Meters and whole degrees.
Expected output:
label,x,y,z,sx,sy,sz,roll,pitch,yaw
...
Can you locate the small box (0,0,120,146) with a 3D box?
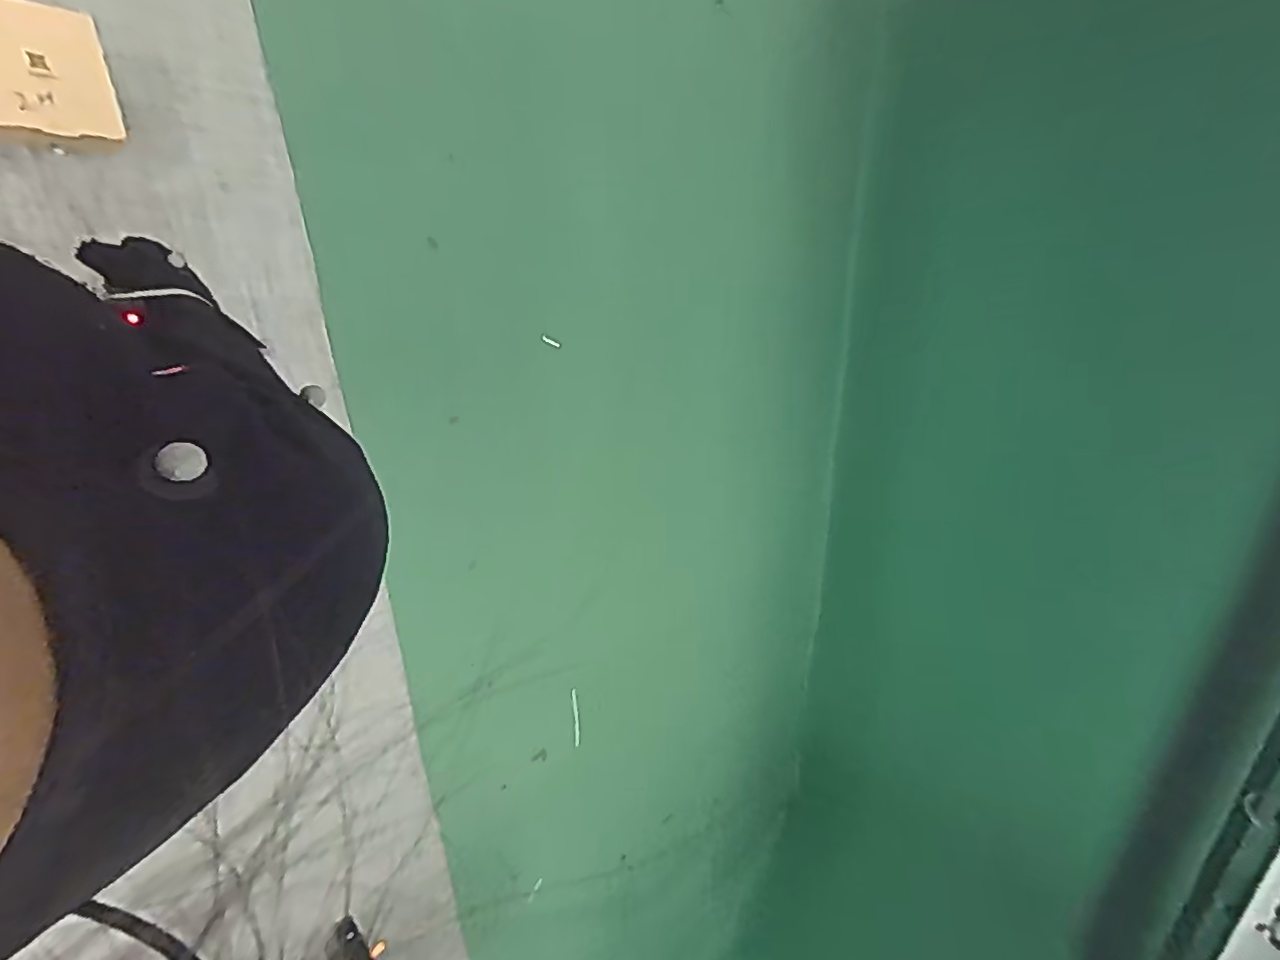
label,x,y,z,sx,sy,sz,roll,pitch,yaw
small box,-0.990,-0.667,0.877,0.168,0.176,0.179,-20,118,-44
